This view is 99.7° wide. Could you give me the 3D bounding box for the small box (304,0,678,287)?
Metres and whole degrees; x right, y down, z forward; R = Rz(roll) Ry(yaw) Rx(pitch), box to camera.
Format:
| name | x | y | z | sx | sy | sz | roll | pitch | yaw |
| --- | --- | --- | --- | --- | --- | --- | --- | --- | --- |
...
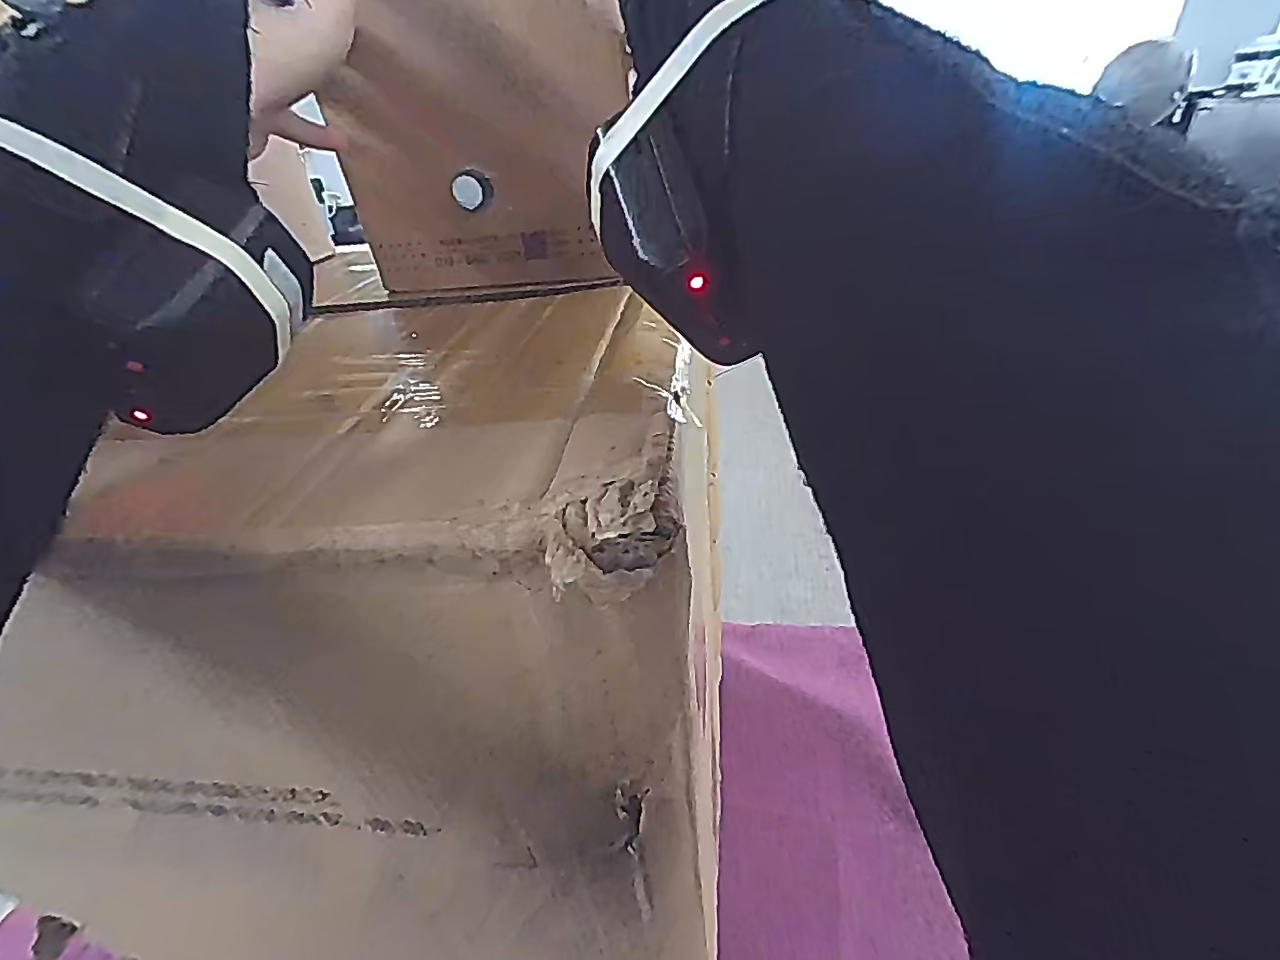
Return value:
| name | x | y | z | sx | sy | sz | roll | pitch | yaw |
| --- | --- | --- | --- | --- | --- | --- | --- | --- | --- |
| small box | -0.069 | -0.229 | 0.340 | 0.168 | 0.176 | 0.179 | 0 | 35 | 12 |
